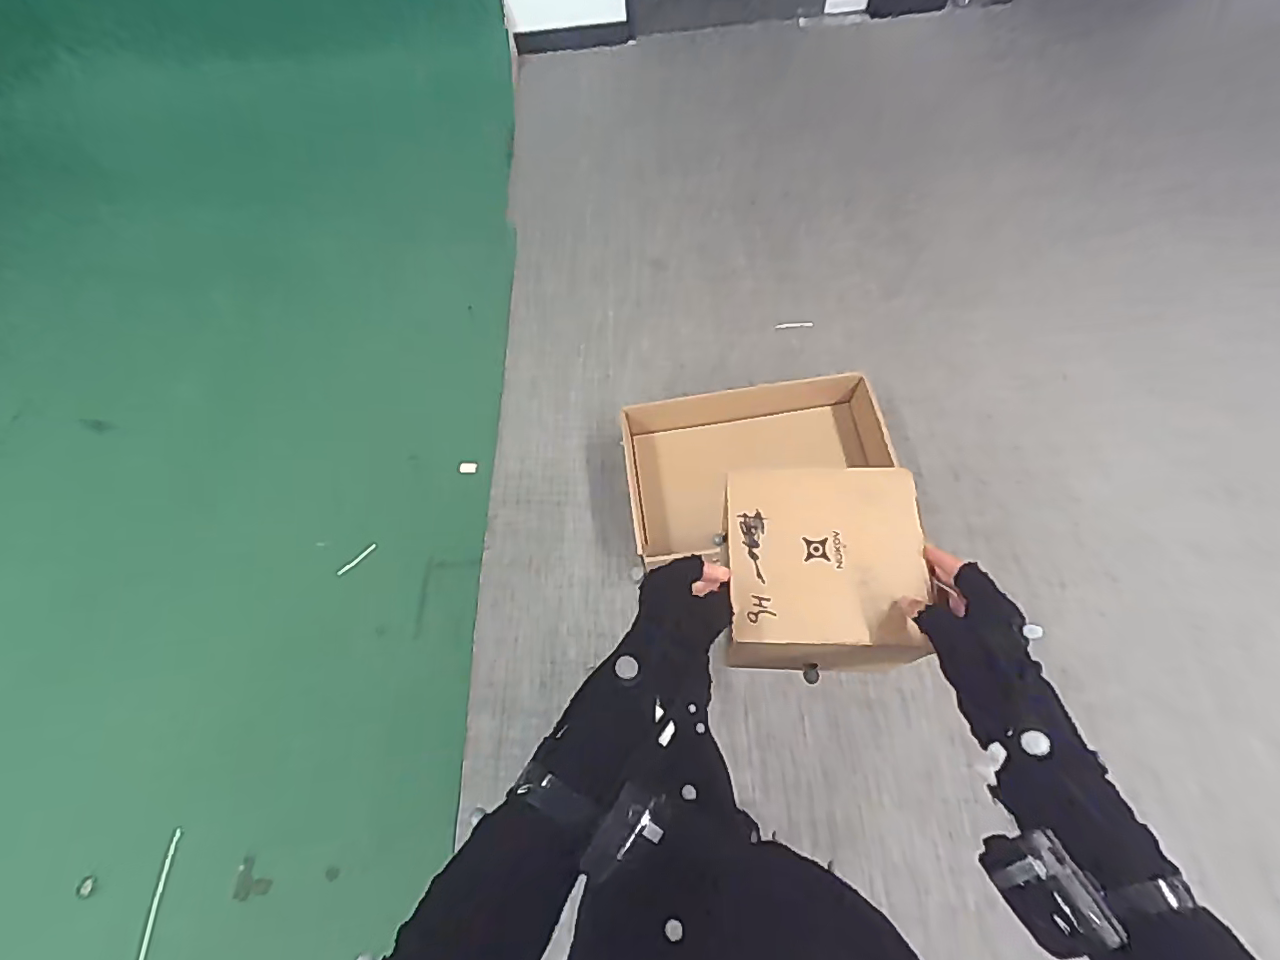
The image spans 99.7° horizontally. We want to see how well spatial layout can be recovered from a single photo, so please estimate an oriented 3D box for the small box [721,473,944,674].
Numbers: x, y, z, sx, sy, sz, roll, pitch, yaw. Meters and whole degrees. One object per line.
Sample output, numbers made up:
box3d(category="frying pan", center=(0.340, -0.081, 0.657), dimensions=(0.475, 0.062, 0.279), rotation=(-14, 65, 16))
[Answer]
box3d(category="small box", center=(0.178, 0.103, 0.561), dimensions=(0.179, 0.176, 0.168), rotation=(0, 63, 6))
